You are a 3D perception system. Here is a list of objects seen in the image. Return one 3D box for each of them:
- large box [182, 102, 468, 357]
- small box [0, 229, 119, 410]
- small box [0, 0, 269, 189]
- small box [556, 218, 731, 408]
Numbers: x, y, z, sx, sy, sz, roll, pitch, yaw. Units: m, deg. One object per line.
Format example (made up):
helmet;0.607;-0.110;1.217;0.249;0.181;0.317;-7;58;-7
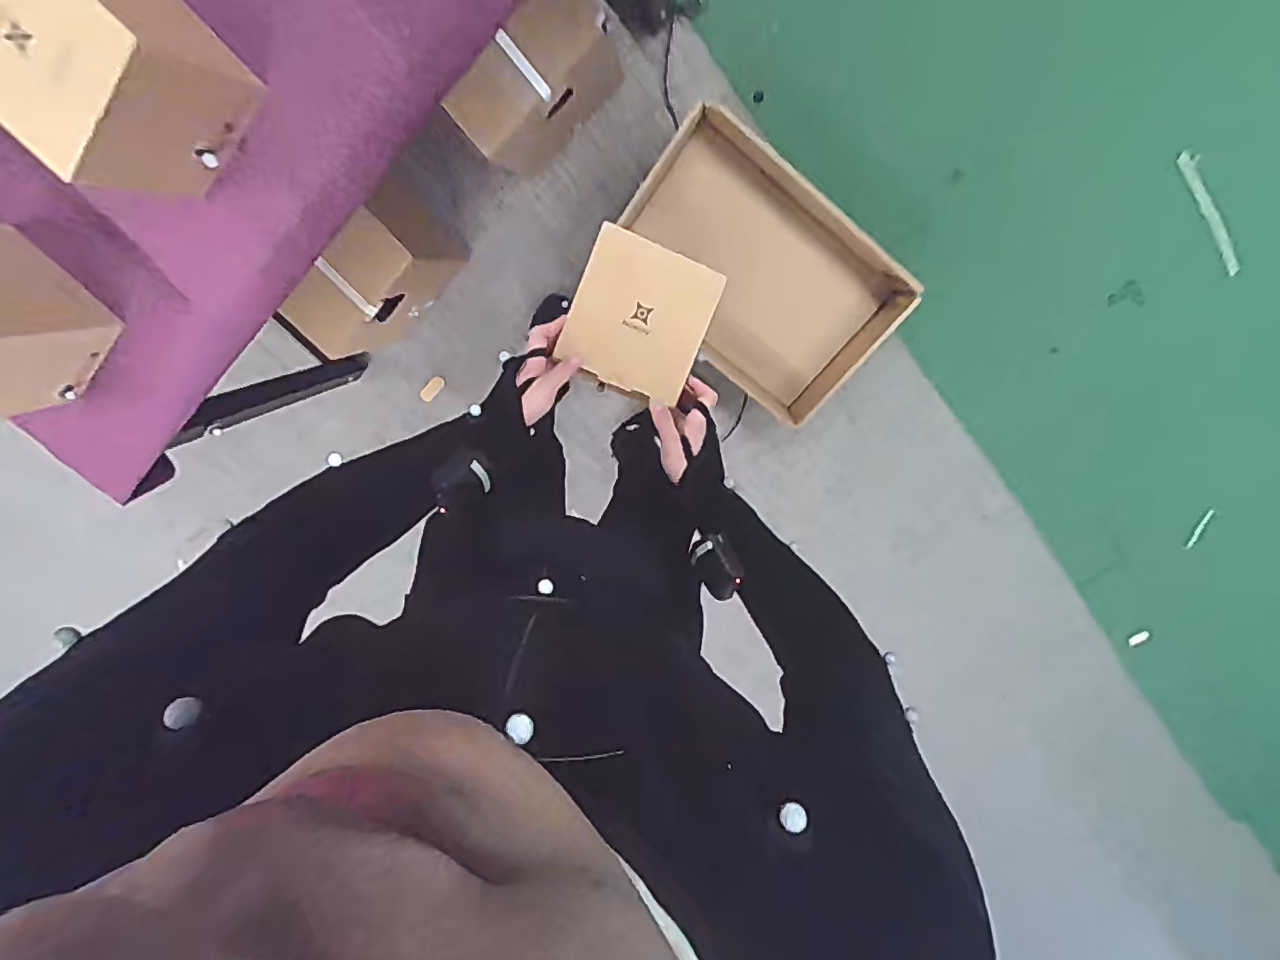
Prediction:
large box;-0.685;-0.550;1.241;0.320;0.320;0.408;-41;102;17
small box;-0.830;-0.201;0.676;0.168;0.176;0.179;-40;102;17
small box;-0.549;-0.435;0.561;0.168;0.176;0.179;-39;103;19
small box;-0.004;-0.209;0.722;0.168;0.176;0.179;21;98;-8
